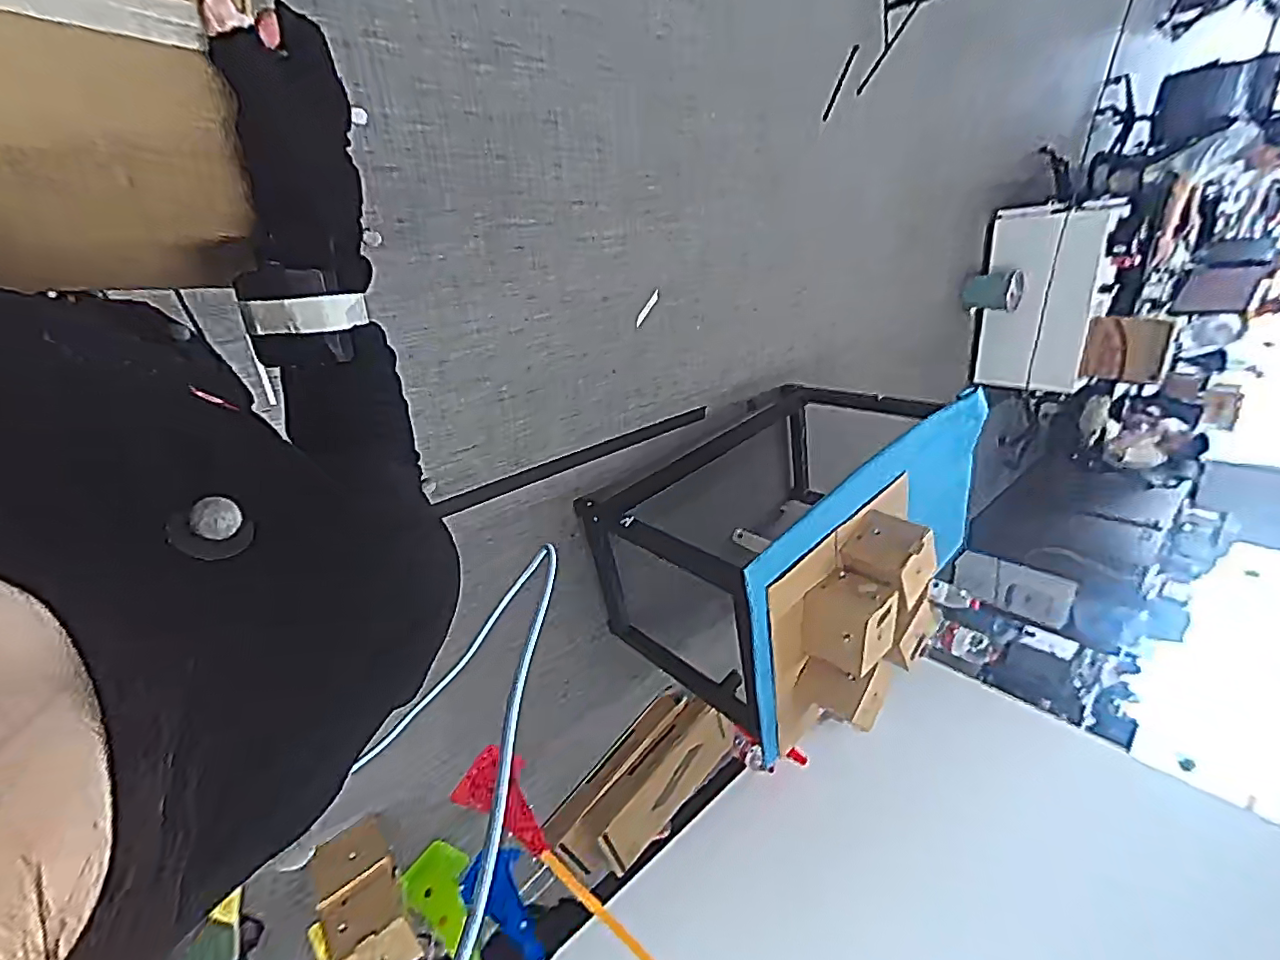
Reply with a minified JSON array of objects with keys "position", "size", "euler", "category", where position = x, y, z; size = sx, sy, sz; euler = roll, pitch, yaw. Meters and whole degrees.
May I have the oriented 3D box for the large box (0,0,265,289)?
[{"position":[-0.459,-0.305,0.239],"size":[0.408,0.320,0.320],"euler":[-20,150,-41],"category":"large box"}]
